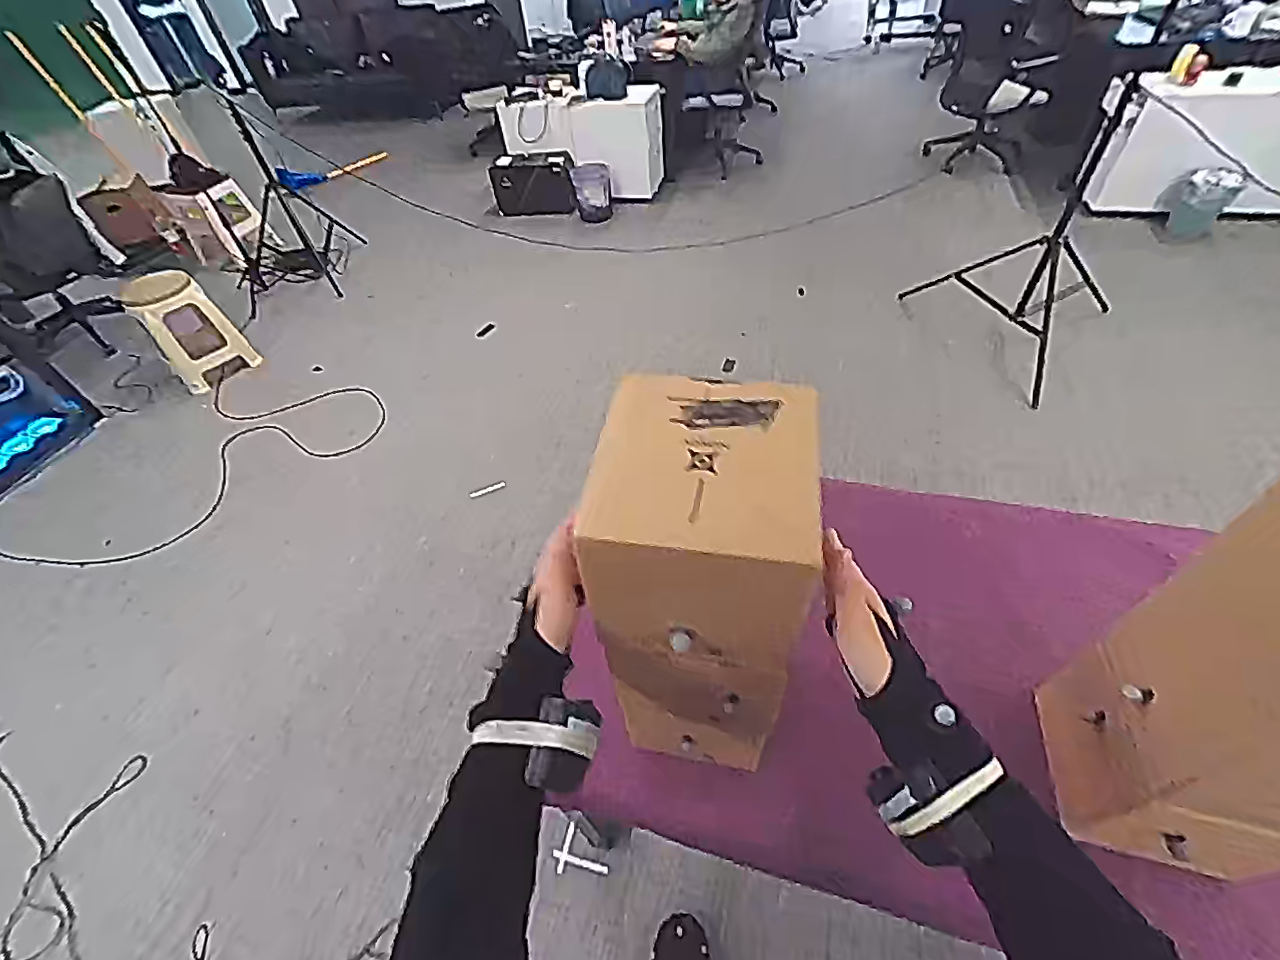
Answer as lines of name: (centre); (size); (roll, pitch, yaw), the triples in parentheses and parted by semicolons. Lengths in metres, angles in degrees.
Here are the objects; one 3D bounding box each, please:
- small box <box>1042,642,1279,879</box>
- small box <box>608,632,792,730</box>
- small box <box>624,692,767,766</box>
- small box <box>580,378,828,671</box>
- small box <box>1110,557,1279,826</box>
small box: (0.589, 0.313, 0.603); (0.168, 0.176, 0.179); (9, 49, 14)
small box: (0.071, 0.147, 0.584); (0.168, 0.176, 0.179); (6, 48, 9)
small box: (0.084, 0.251, 0.708); (0.168, 0.176, 0.179); (7, 48, 11)
small box: (0.058, 0.037, 0.462); (0.168, 0.176, 0.179); (5, 49, 10)
small box: (0.578, 0.199, 0.485); (0.168, 0.176, 0.179); (10, 49, 15)
